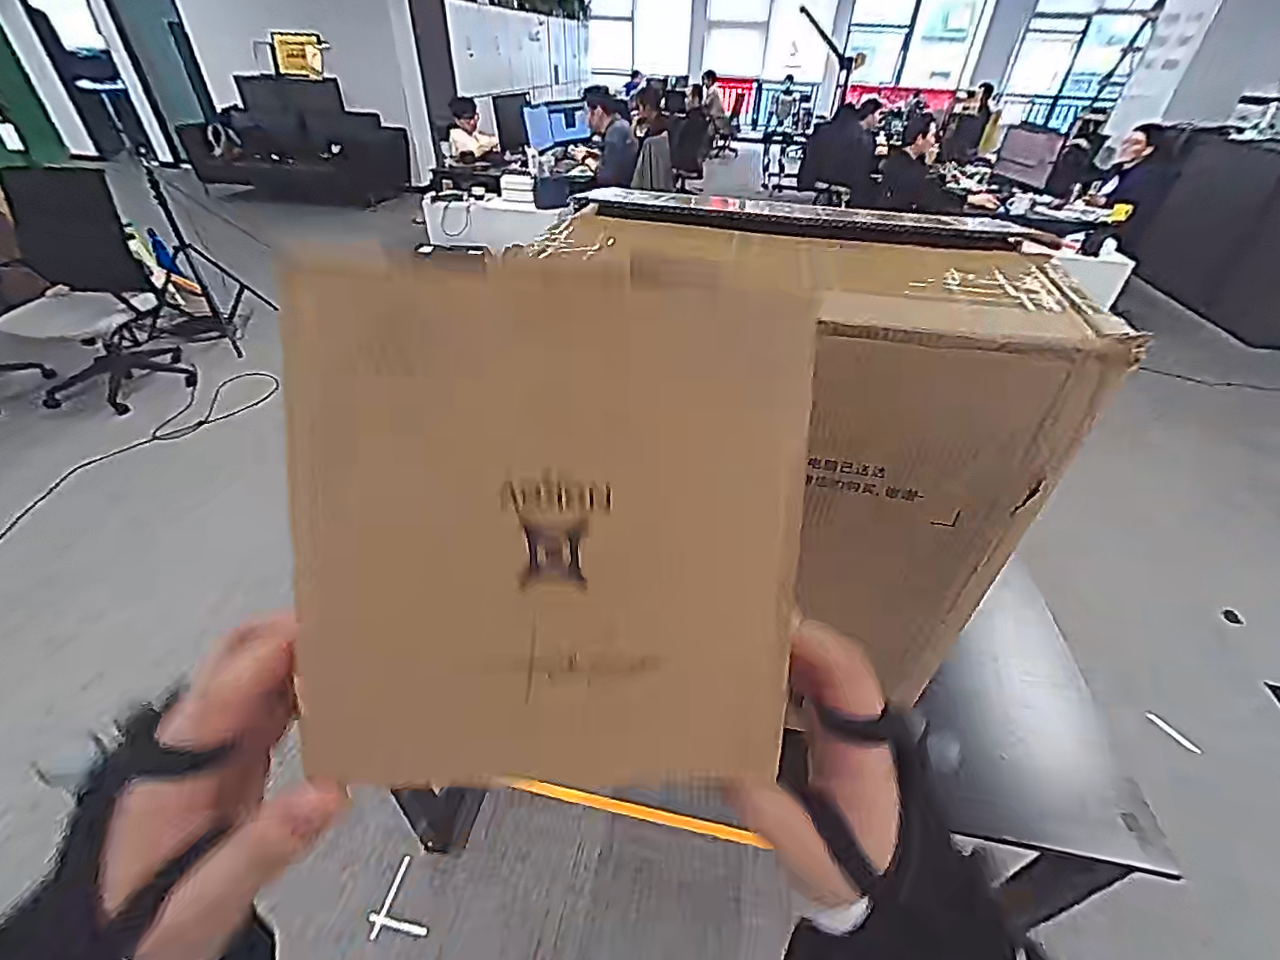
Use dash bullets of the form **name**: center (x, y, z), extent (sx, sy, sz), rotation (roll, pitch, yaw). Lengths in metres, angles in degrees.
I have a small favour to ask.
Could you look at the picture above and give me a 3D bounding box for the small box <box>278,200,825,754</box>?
- **small box**: center (-0.033, -0.004, 0.252), extent (0.168, 0.179, 0.176), rotation (2, 10, -4)
